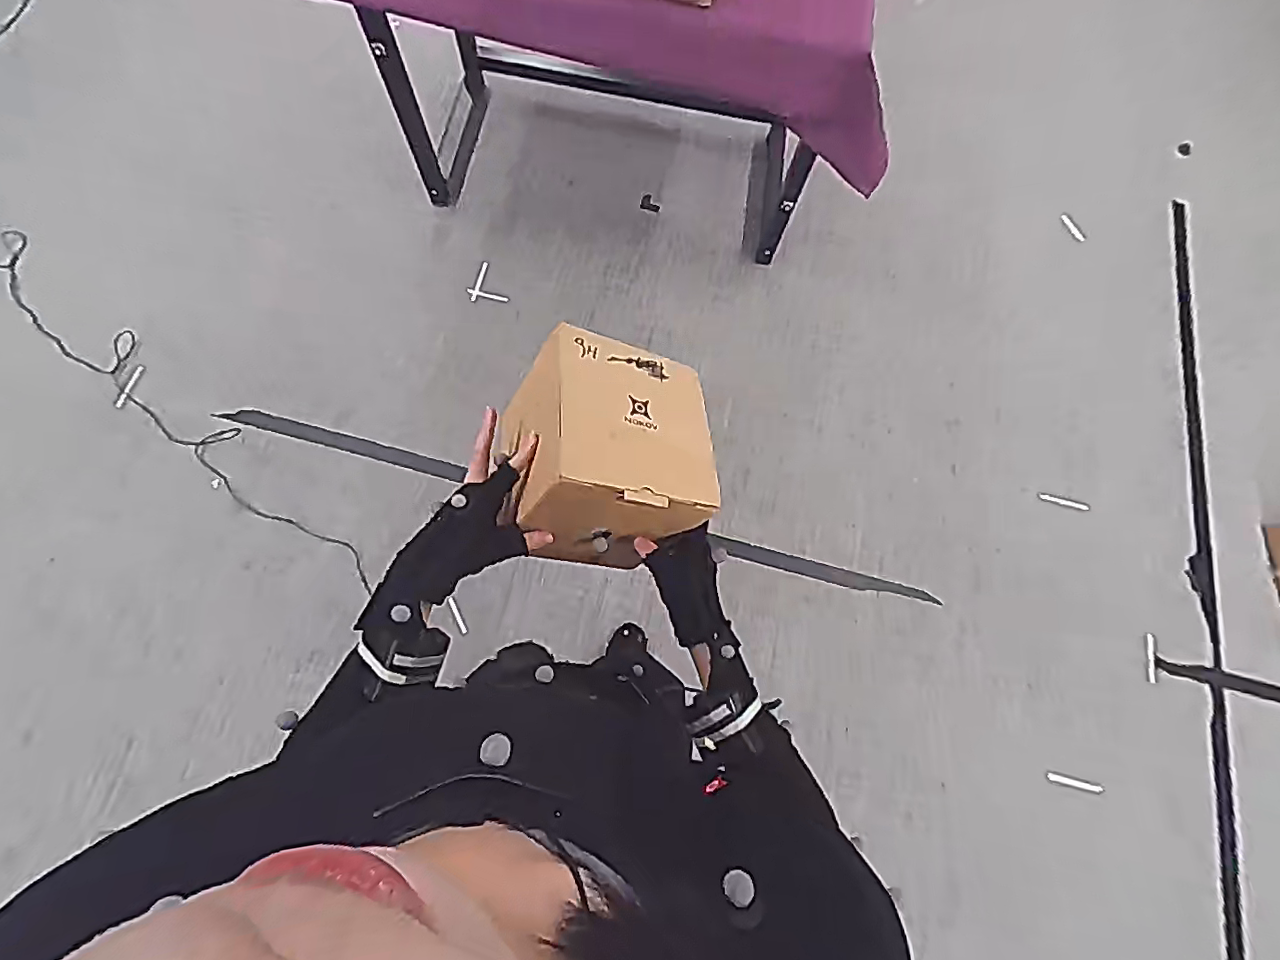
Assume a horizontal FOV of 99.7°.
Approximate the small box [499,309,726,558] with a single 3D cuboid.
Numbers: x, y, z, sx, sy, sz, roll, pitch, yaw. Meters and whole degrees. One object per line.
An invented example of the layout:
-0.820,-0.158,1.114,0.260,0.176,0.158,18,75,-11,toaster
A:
-0.037,-0.032,0.555,0.168,0.176,0.179,13,57,-30,small box
